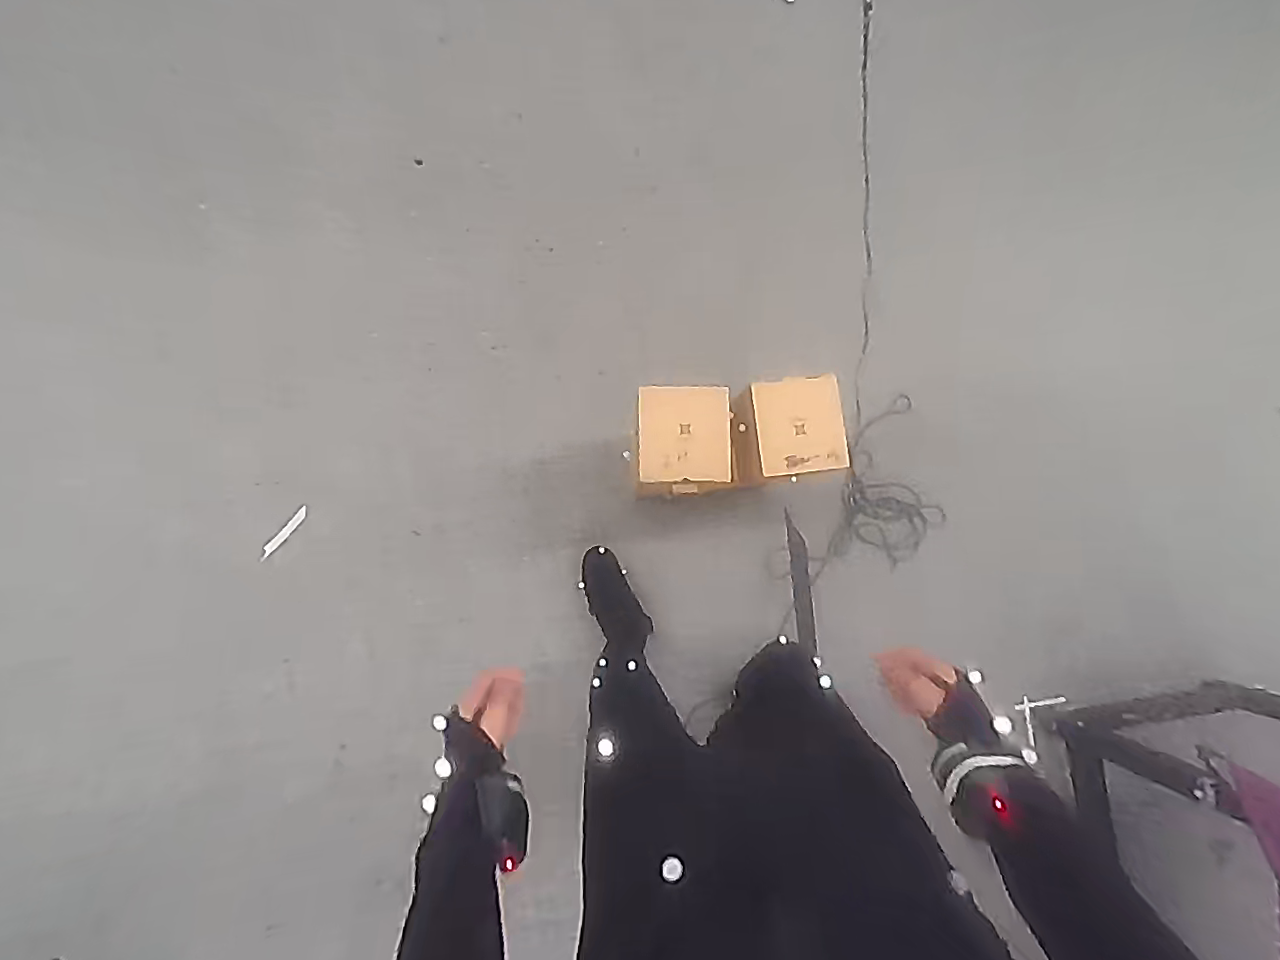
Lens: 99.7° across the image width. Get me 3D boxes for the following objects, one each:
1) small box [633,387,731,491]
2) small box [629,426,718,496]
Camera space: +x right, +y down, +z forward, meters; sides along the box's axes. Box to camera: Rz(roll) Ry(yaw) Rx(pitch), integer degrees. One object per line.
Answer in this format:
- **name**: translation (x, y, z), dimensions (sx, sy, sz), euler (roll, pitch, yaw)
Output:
- **small box**: translation (0.073, -0.072, 1.029), dimensions (0.168, 0.176, 0.179), euler (-1, 86, -3)
- **small box**: translation (0.069, -0.052, 1.193), dimensions (0.179, 0.176, 0.168), euler (-2, 86, -3)
